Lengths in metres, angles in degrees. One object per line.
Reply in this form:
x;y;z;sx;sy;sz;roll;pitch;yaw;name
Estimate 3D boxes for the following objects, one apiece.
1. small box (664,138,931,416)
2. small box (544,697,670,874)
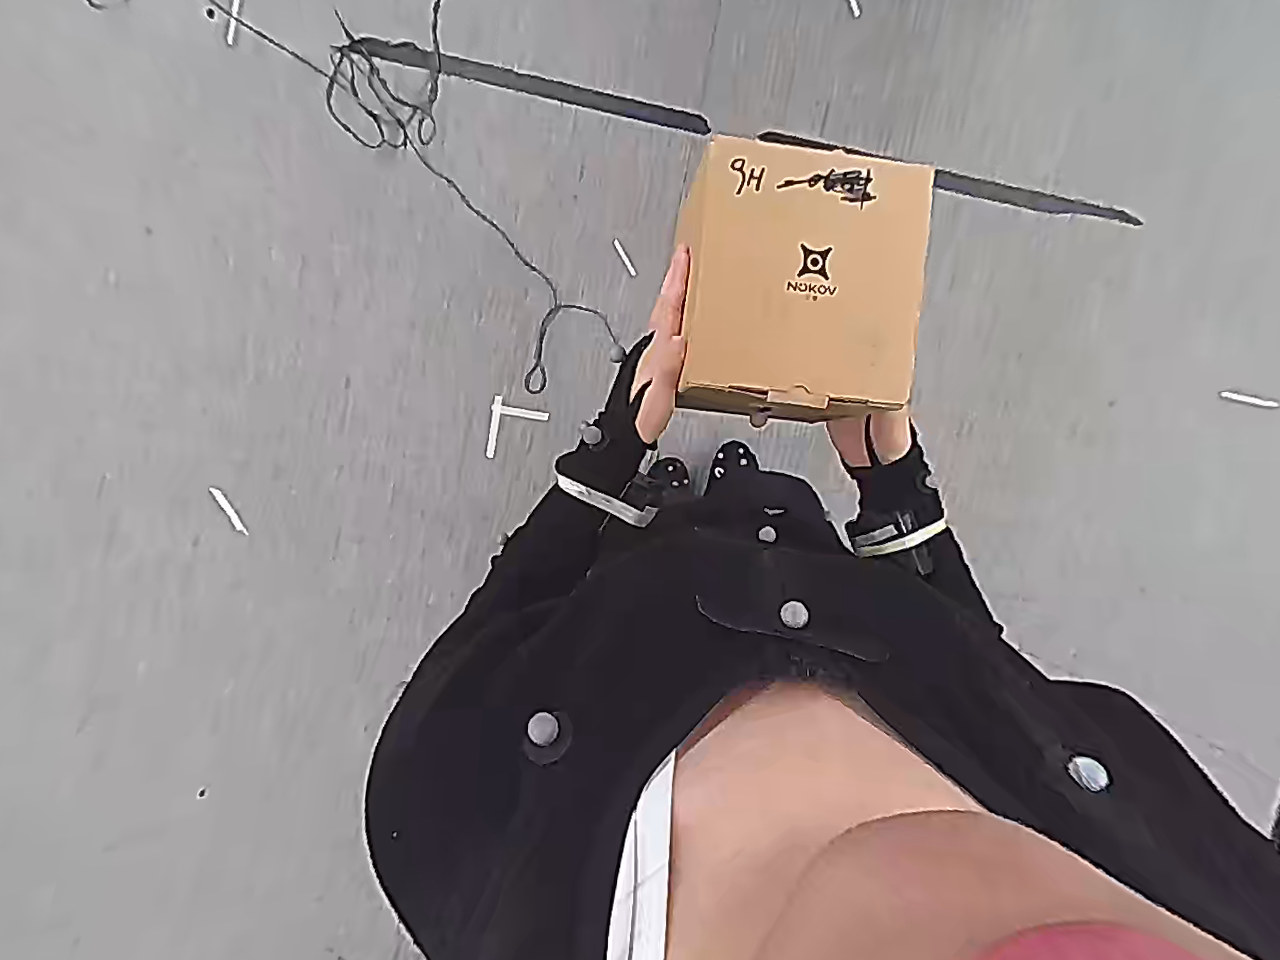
0.116;-0.152;0.470;0.168;0.176;0.179;6;93;-5;small box
-0.045;0.453;0.828;0.168;0.176;0.179;4;93;2;small box
